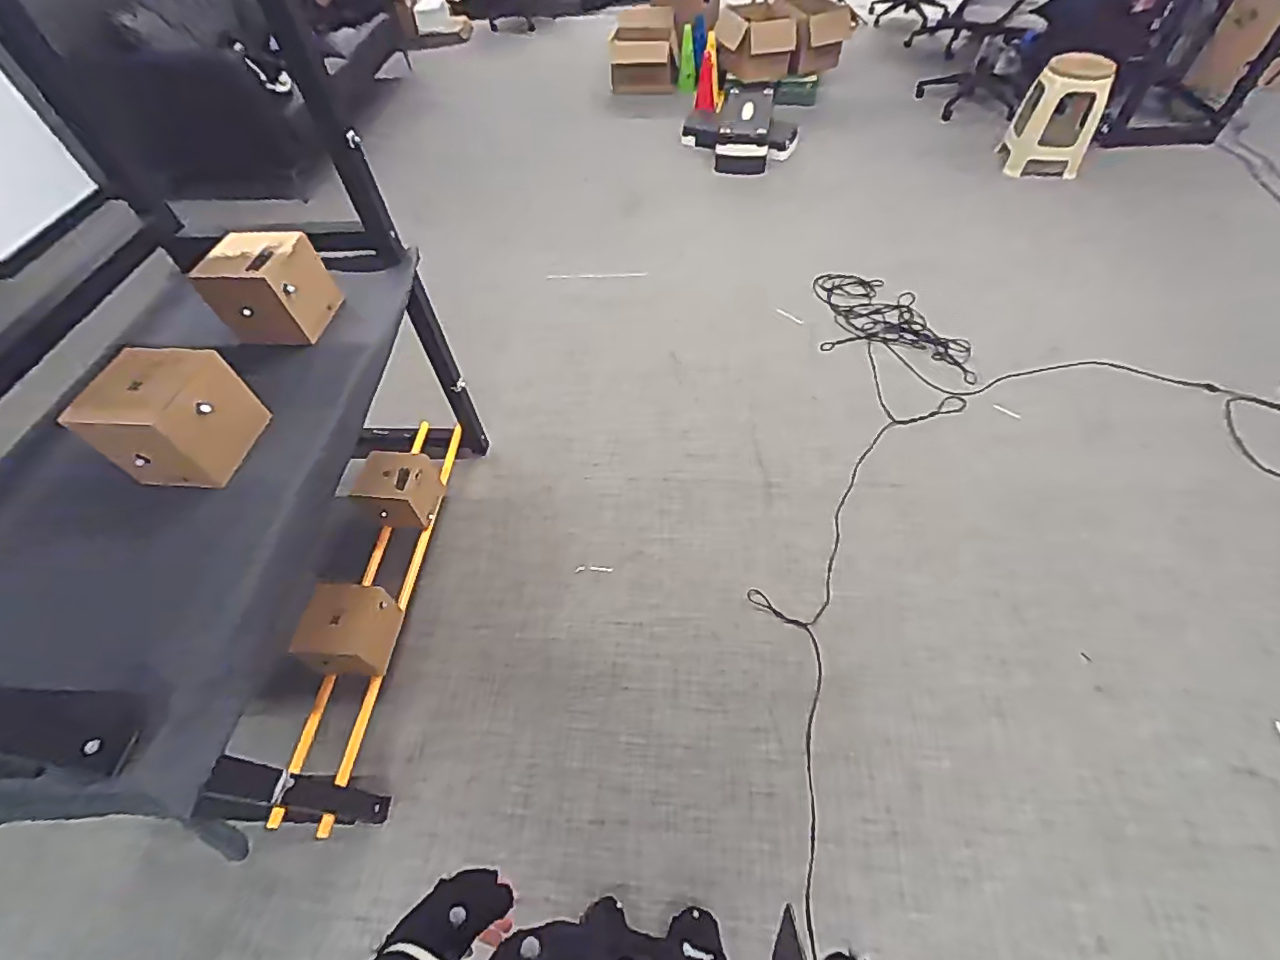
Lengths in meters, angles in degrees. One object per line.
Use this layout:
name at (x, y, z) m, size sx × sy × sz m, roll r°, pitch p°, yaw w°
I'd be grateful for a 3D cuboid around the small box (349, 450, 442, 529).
small box at (-0.711, 0.032, 1.599) m, size 0.179 × 0.176 × 0.168 m, roll 3°, pitch 54°, yaw 5°

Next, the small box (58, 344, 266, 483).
small box at (-0.799, -0.111, 0.932) m, size 0.168 × 0.176 × 0.179 m, roll 3°, pitch 54°, yaw 5°
